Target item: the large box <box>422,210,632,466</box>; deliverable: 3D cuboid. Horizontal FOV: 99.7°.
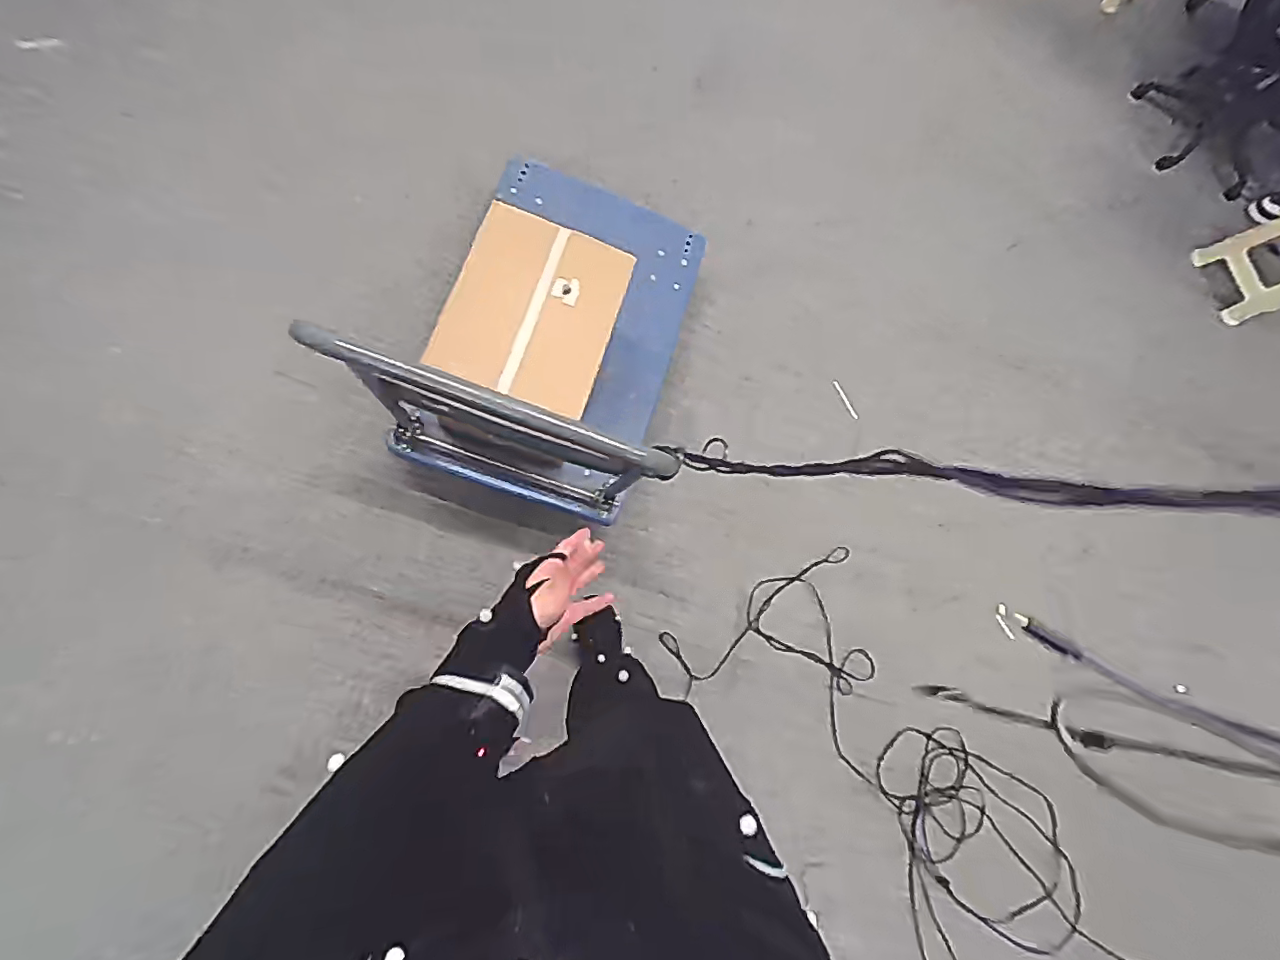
[{"bbox_3d":[-0.240,-0.289,1.209,0.320,0.320,0.408,19,74,-8],"label":"large box"}]
